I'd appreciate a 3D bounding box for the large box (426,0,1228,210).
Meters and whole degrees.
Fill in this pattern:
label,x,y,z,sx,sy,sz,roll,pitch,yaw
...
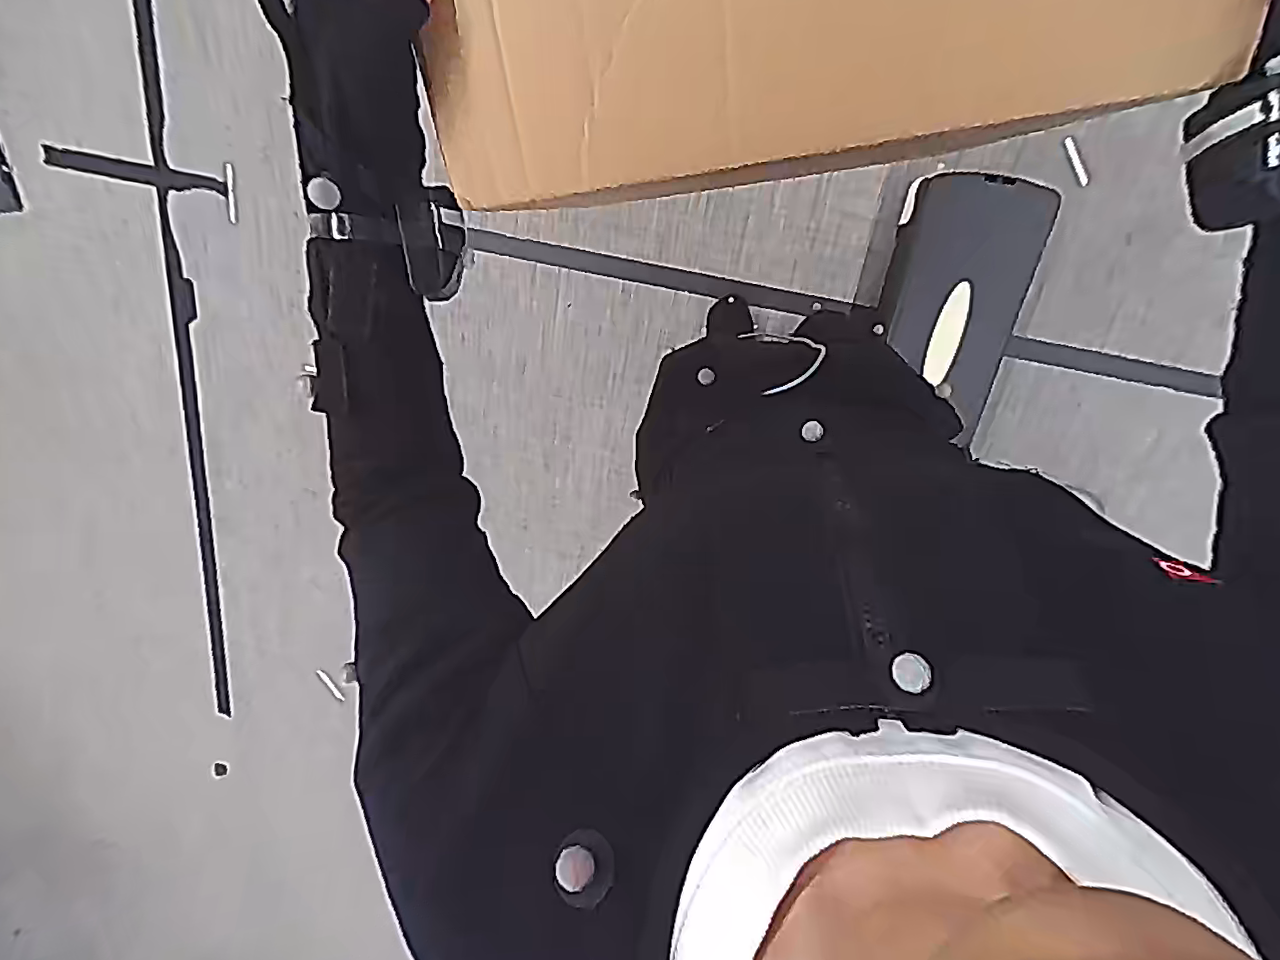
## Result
label,x,y,z,sx,sy,sz,roll,pitch,yaw
large box,0.084,-0.391,0.374,0.408,0.320,0.320,-5,116,10
